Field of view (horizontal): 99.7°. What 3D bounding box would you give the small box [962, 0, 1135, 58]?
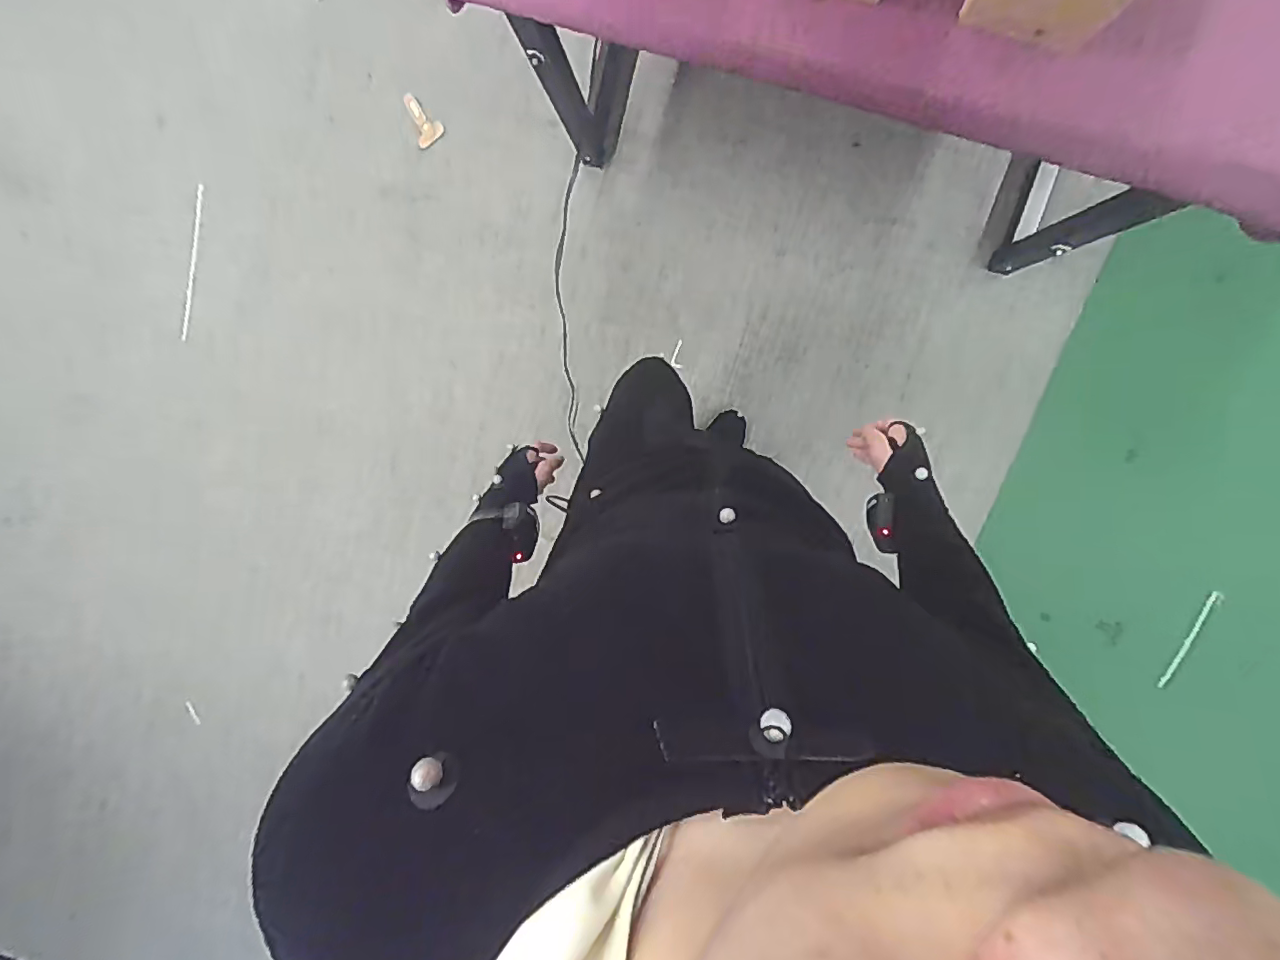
[{"bbox_3d":[0.523,-0.662,0.641,0.168,0.176,0.179,19,100,4],"label":"small box"}]
